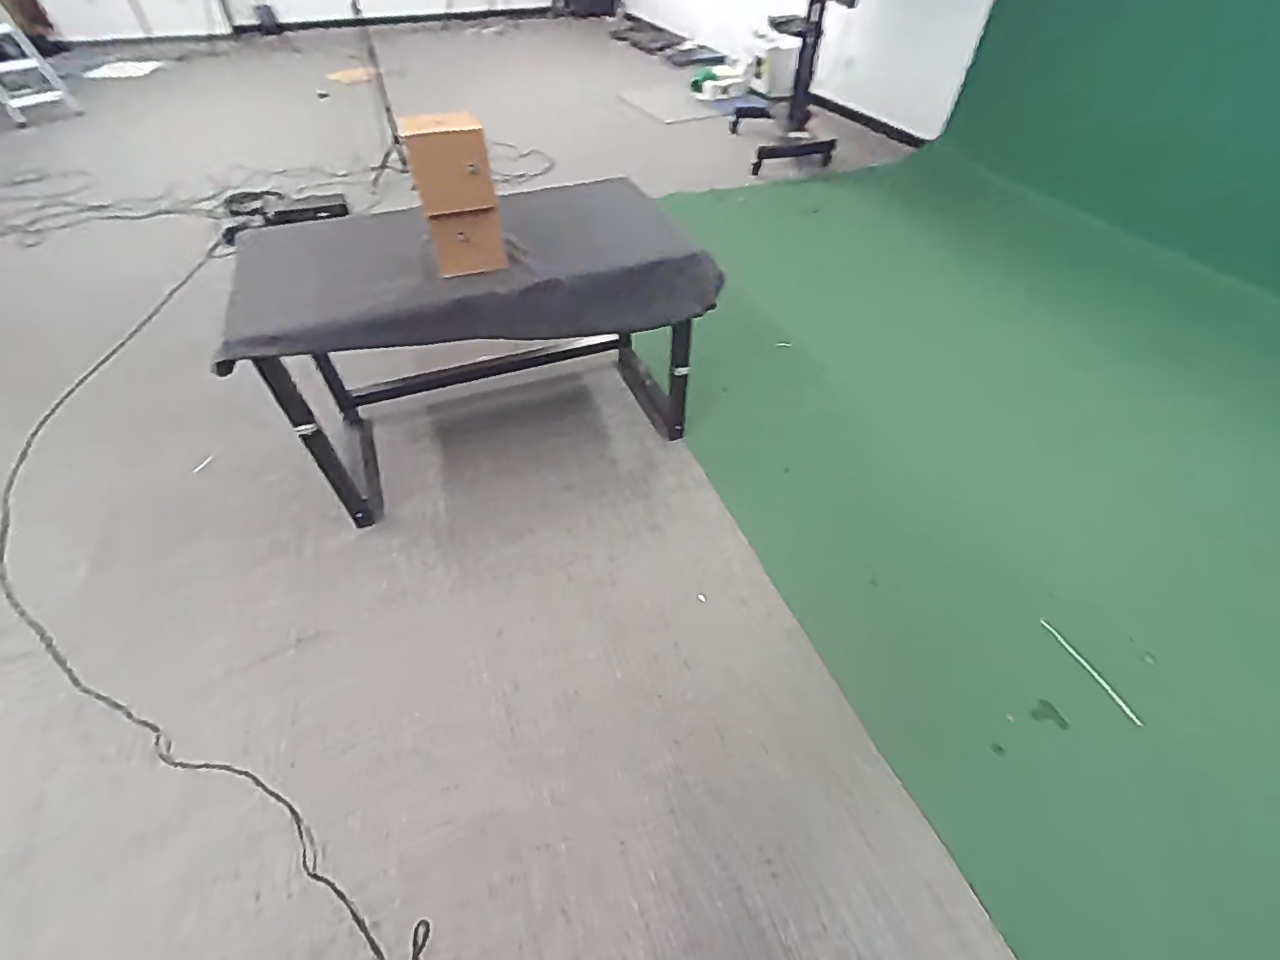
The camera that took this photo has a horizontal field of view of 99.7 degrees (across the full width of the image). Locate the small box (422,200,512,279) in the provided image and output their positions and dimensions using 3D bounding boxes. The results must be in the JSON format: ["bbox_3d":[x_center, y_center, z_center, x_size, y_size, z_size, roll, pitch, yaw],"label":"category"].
[{"bbox_3d":[-0.454,-0.648,1.426,0.179,0.176,0.168,-17,48,-16],"label":"small box"}]

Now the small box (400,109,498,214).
[{"bbox_3d":[-0.443,-0.750,1.274,0.179,0.176,0.168,-18,50,-16],"label":"small box"}]
